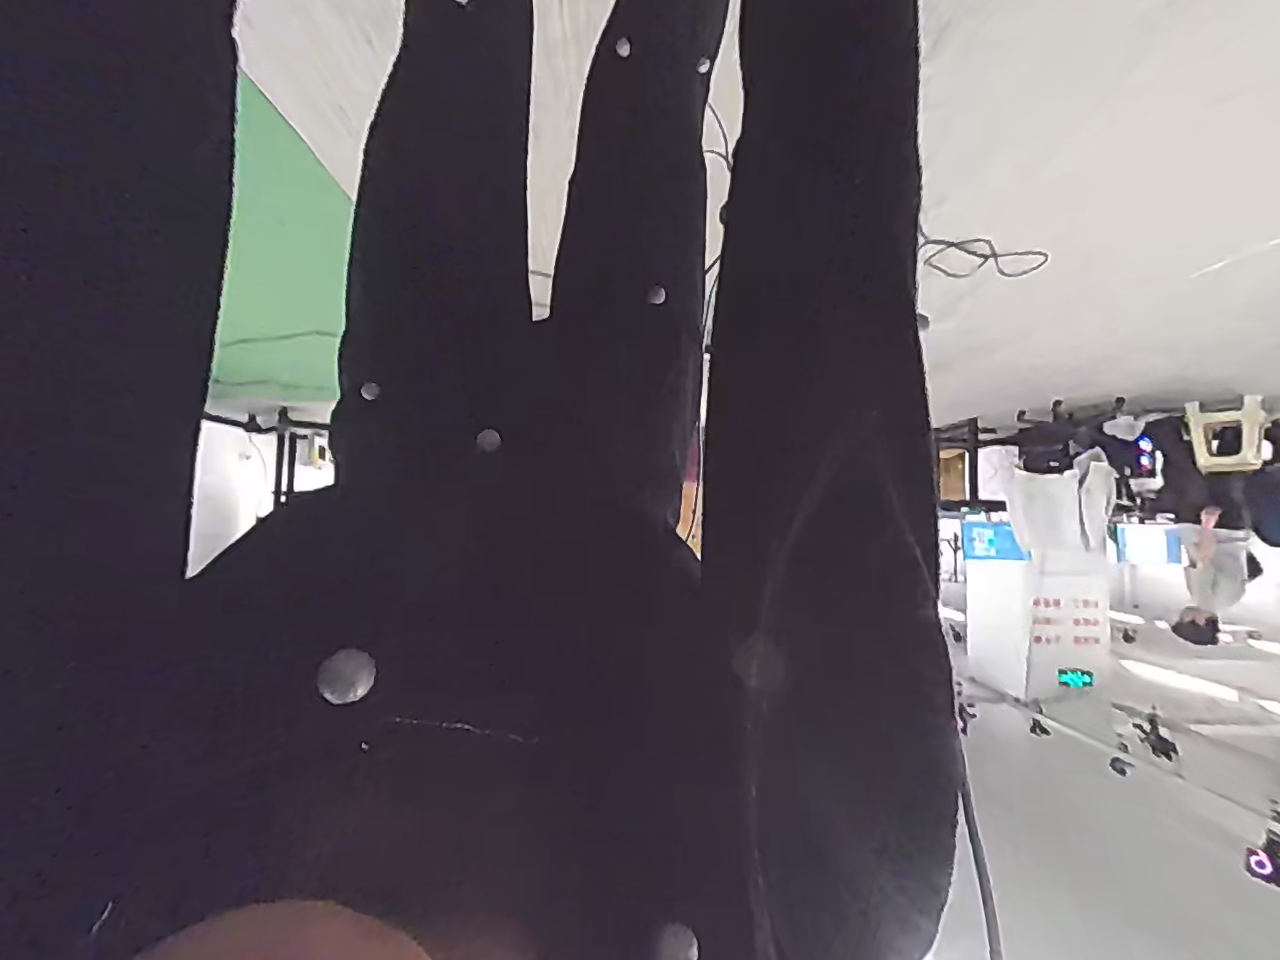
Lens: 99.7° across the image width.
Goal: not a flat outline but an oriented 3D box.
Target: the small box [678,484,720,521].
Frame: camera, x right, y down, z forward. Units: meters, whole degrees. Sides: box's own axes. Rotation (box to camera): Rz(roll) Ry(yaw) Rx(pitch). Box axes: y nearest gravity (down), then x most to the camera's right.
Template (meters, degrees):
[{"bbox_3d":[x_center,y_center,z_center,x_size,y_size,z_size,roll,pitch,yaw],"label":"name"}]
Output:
[{"bbox_3d":[0.282,0.108,2.608,0.179,0.176,0.168,3,176,-5],"label":"small box"}]

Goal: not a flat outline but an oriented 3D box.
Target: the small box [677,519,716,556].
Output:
[{"bbox_3d":[0.270,0.270,2.596,0.168,0.176,0.179,3,177,-4],"label":"small box"}]
